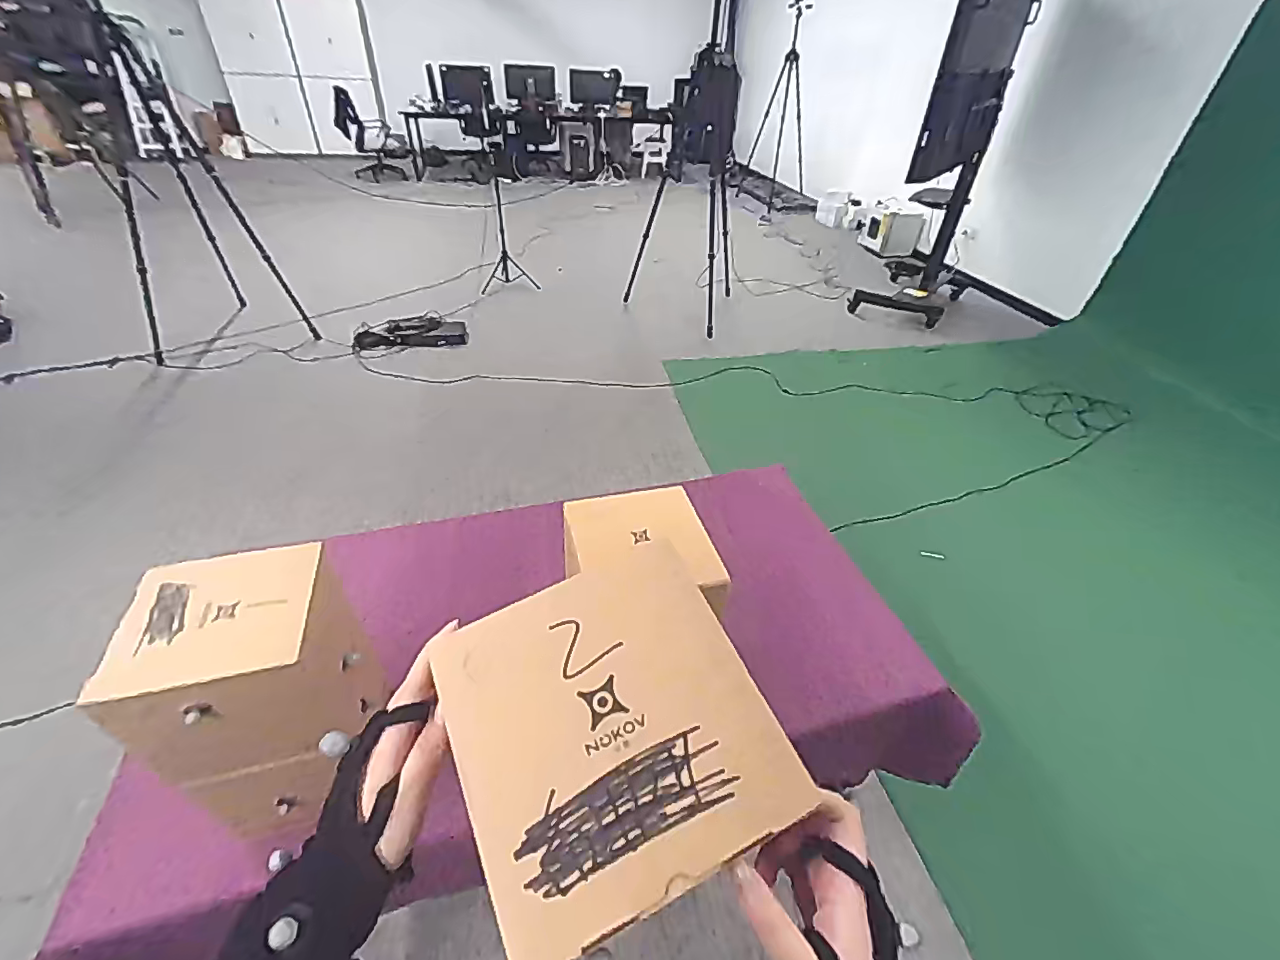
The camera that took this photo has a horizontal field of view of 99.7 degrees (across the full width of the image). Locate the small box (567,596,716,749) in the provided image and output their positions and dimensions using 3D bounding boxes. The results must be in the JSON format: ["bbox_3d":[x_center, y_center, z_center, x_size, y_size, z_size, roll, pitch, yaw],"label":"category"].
[{"bbox_3d":[-0.003,0.268,0.804,0.179,0.176,0.168,-10,41,-14],"label":"small box"}]

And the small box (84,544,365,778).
[{"bbox_3d":[-0.429,0.199,0.601,0.179,0.176,0.168,-8,40,-14],"label":"small box"}]

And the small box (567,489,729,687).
[{"bbox_3d":[-0.002,0.137,0.706,0.168,0.176,0.179,-8,40,-14],"label":"small box"}]

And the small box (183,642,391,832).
[{"bbox_3d":[-0.435,0.327,0.705,0.168,0.176,0.179,-8,40,-14],"label":"small box"}]
